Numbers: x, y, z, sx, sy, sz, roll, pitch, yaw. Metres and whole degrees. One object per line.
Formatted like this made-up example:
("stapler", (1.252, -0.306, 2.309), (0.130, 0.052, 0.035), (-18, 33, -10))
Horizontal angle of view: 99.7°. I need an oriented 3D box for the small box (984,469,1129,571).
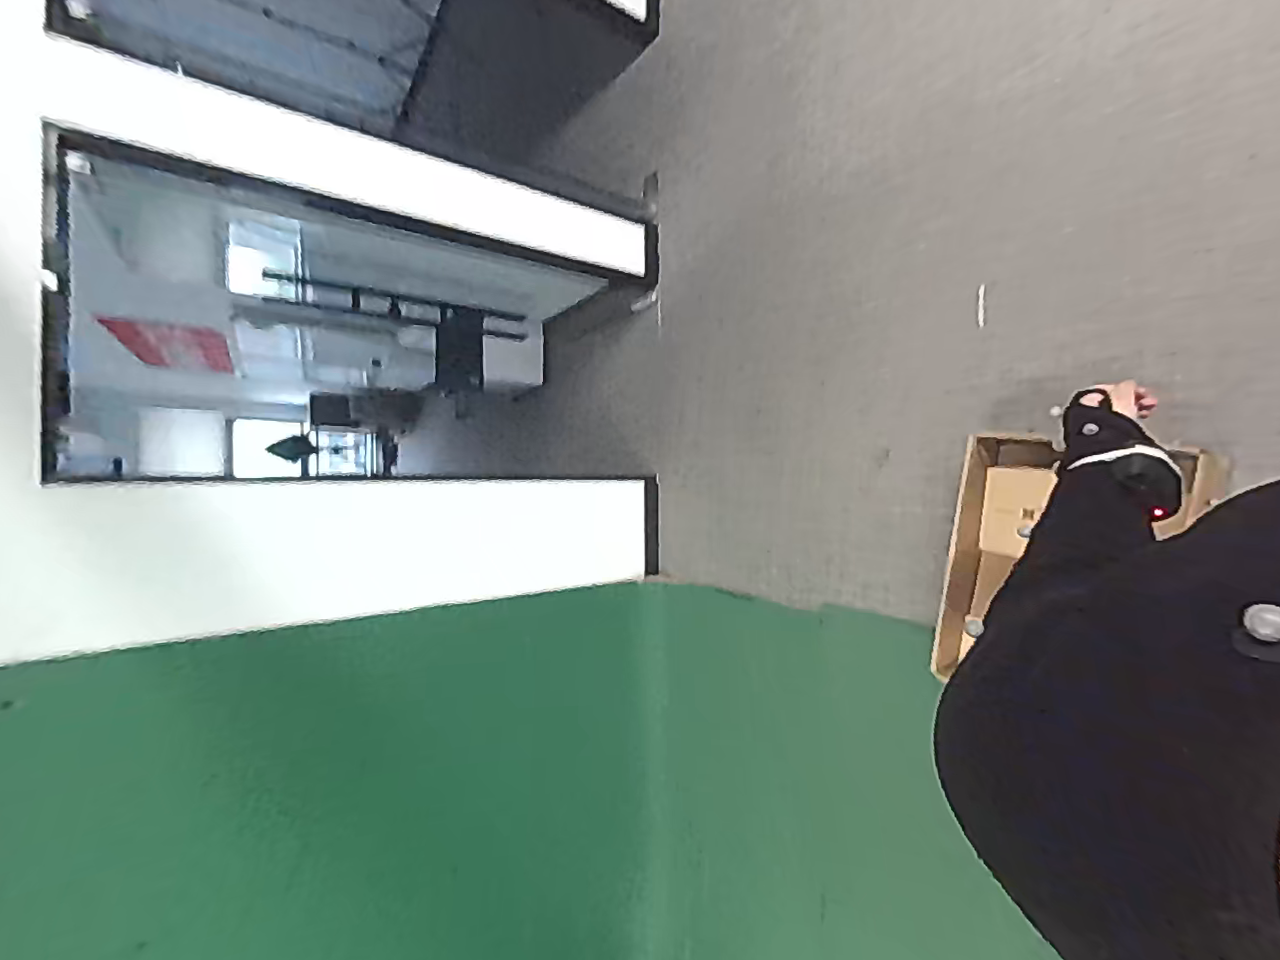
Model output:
("small box", (0.809, 0.068, 1.049), (0.179, 0.176, 0.168), (12, 100, 56))
